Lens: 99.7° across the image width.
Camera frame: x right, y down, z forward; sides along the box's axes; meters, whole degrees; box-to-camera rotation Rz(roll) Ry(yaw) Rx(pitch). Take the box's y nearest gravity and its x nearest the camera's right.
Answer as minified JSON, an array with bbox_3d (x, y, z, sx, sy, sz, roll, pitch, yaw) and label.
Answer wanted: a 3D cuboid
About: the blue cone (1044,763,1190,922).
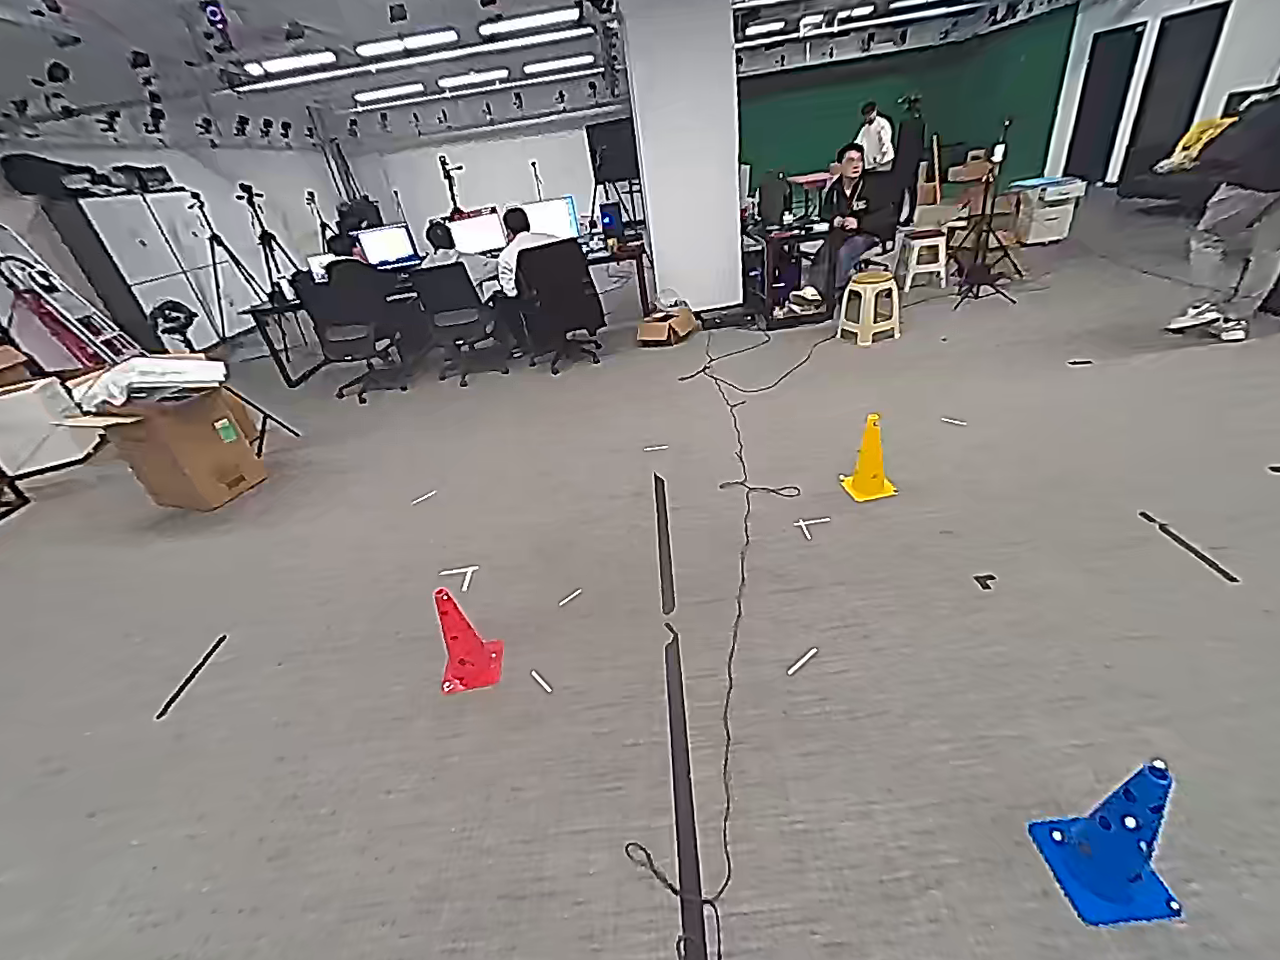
[{"bbox_3d":[0.976,0.682,1.063,0.192,0.380,0.193,-6,31,3],"label":"blue cone"}]

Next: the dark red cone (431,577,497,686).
[{"bbox_3d":[-0.616,0.484,1.787,0.201,0.394,0.202,-11,31,-4],"label":"dark red cone"}]
